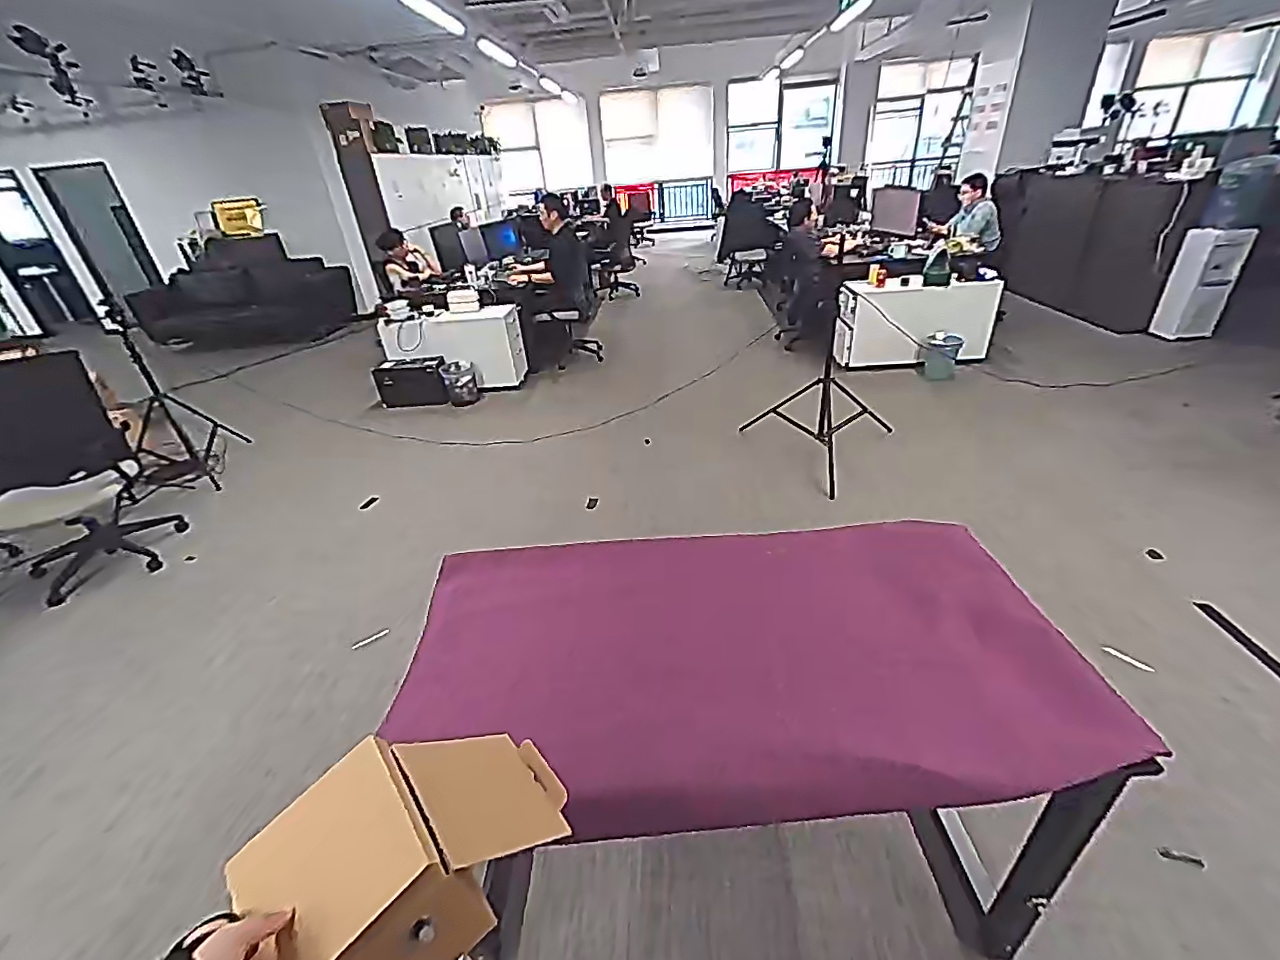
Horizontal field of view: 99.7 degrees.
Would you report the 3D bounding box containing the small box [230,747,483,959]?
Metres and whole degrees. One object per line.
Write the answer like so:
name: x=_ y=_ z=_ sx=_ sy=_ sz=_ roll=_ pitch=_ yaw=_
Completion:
small box: x=-0.286 y=0.439 z=0.575 sx=0.179 sy=0.176 sz=0.168 roll=-31 pitch=42 yaw=-28
